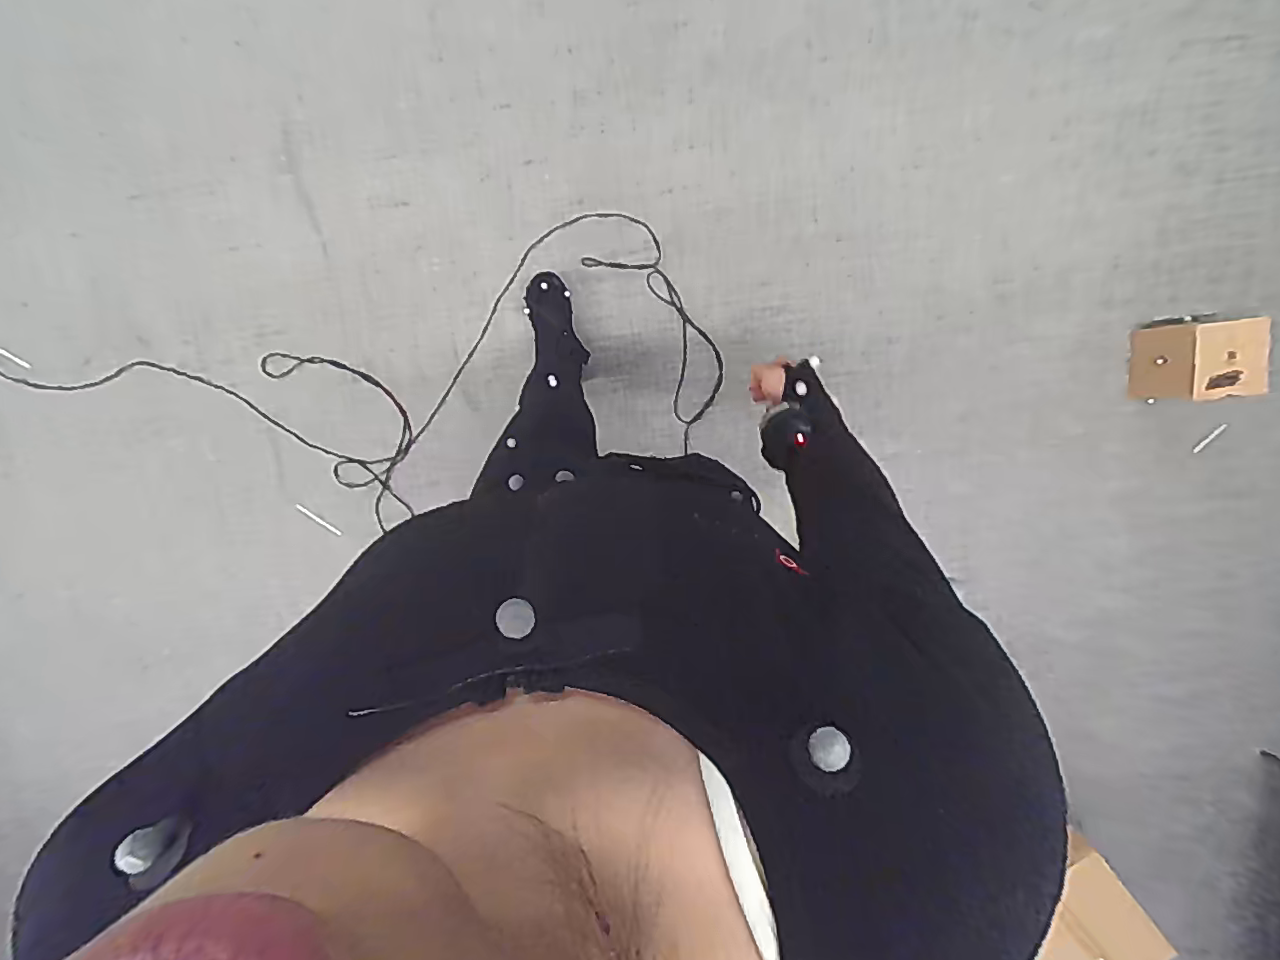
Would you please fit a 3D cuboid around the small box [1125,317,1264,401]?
[{"bbox_3d":[1.336,-0.294,1.316,0.168,0.176,0.179,-6,101,2],"label":"small box"}]
